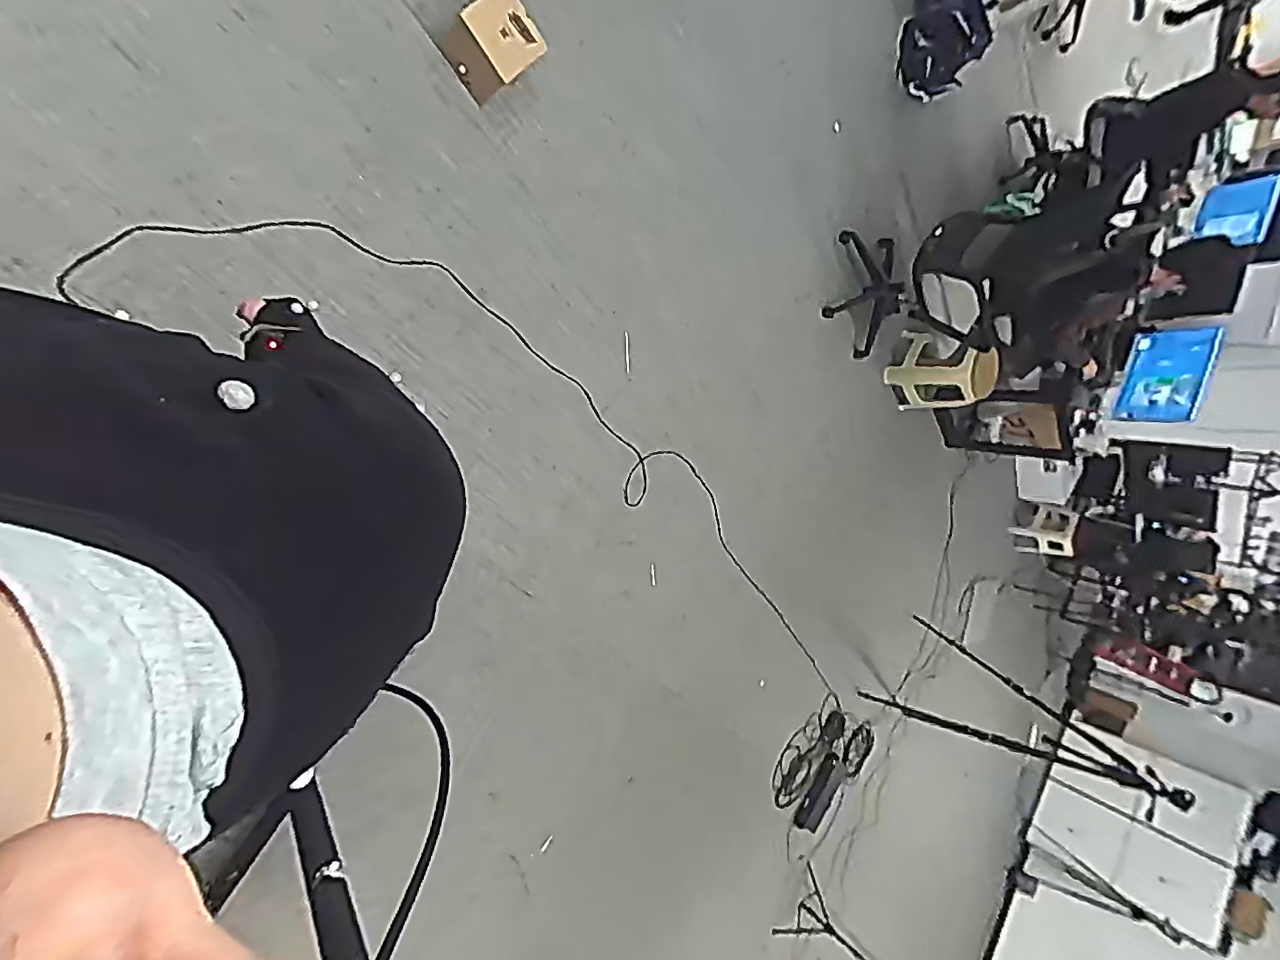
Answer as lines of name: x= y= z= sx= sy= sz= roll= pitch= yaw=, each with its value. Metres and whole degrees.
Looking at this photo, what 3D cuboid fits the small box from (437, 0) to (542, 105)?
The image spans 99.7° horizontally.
small box: x=-0.395 y=-1.126 z=1.404 sx=0.179 sy=0.176 sz=0.168 roll=-53 pitch=125 yaw=-17
